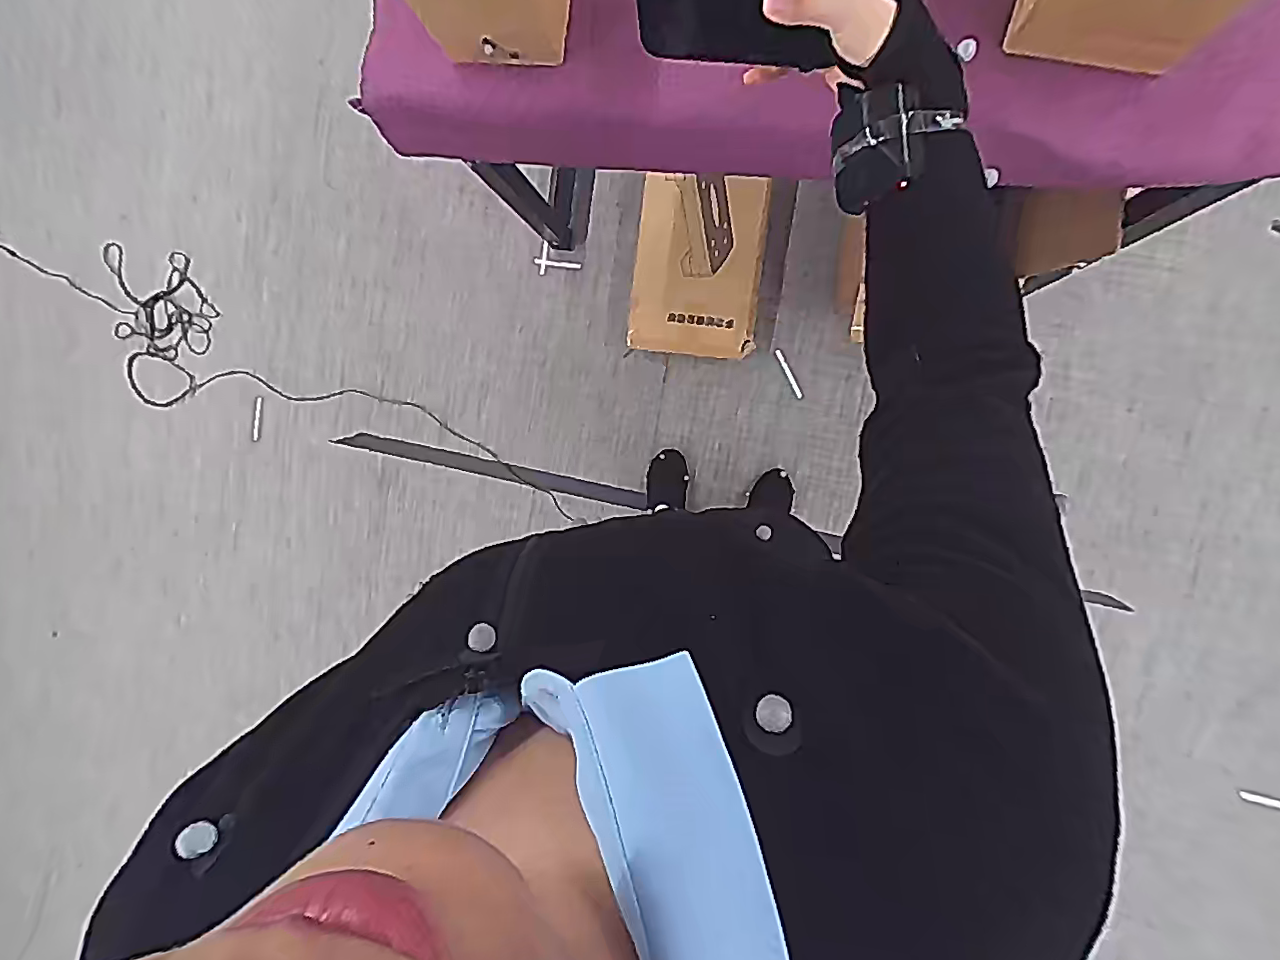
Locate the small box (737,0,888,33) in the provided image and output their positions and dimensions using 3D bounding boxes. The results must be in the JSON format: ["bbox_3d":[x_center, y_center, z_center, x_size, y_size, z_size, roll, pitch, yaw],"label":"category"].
[{"bbox_3d":[0.203,-0.623,0.578,0.179,0.176,0.168,9,94,9],"label":"small box"}]

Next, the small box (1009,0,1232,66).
[{"bbox_3d":[0.510,-0.551,0.530,0.179,0.176,0.168,16,98,8],"label":"small box"}]
